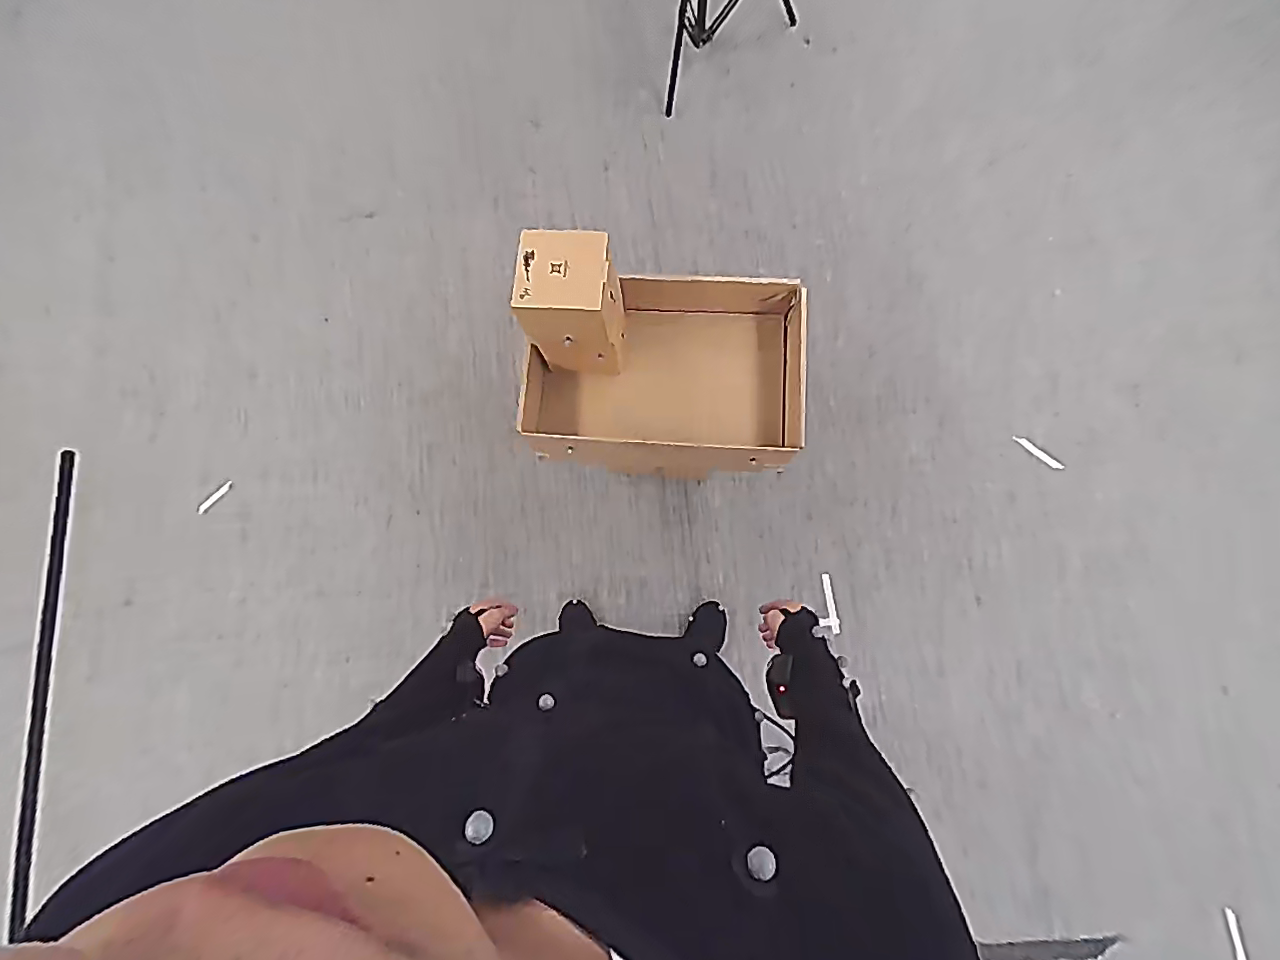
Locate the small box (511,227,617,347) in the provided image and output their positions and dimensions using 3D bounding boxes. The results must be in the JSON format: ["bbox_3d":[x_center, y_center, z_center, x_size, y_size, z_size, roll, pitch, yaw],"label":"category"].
[{"bbox_3d":[-0.143,-0.380,1.091,0.179,0.176,0.168,5,79,4],"label":"small box"}]
